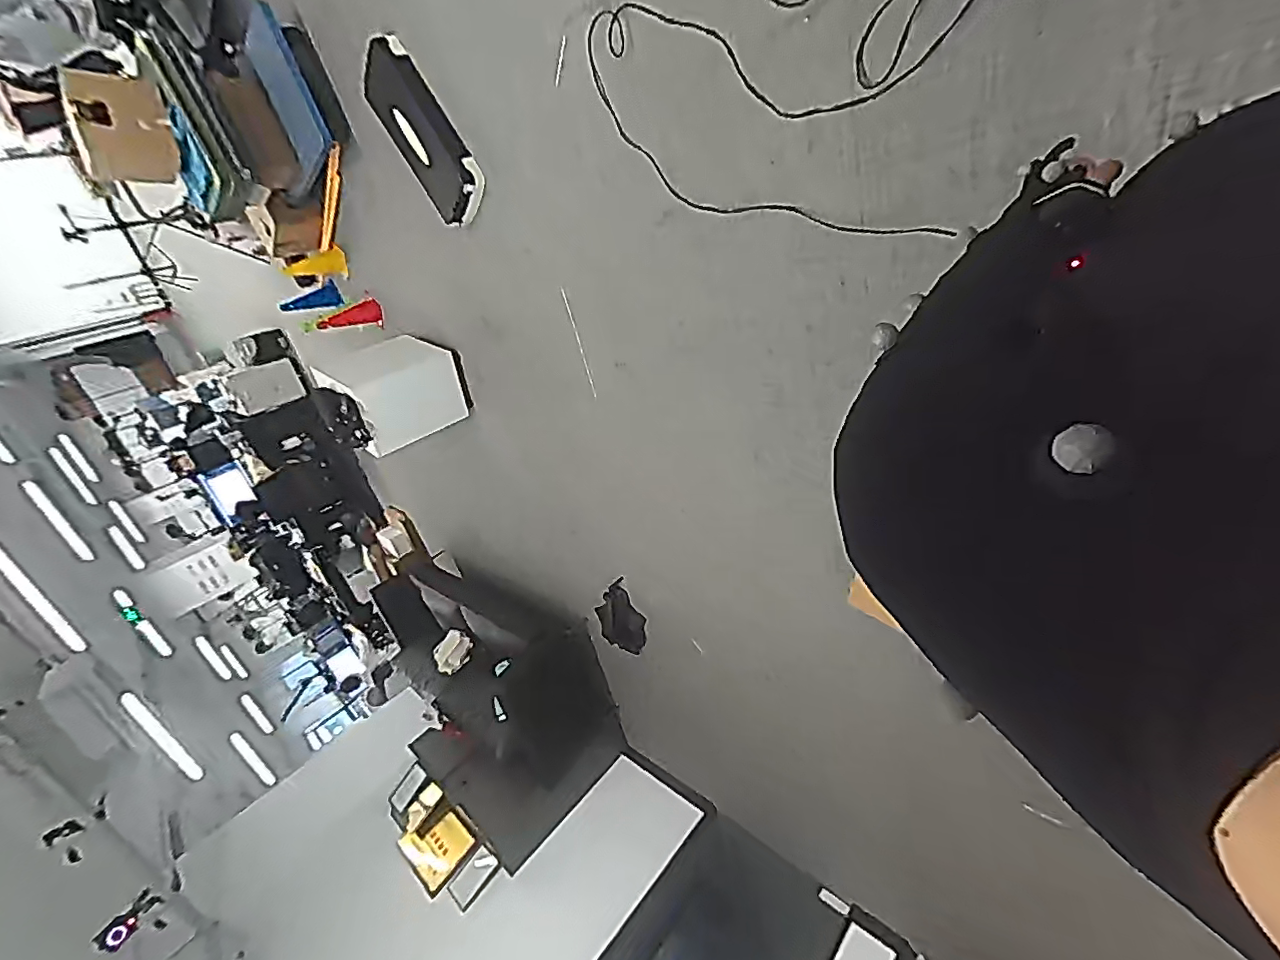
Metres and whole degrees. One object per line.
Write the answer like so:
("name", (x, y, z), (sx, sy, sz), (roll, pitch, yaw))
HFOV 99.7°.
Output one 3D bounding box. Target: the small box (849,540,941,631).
("small box", (0.753, 0.302, 1.598), (0.179, 0.176, 0.168), (27, 137, 33))
